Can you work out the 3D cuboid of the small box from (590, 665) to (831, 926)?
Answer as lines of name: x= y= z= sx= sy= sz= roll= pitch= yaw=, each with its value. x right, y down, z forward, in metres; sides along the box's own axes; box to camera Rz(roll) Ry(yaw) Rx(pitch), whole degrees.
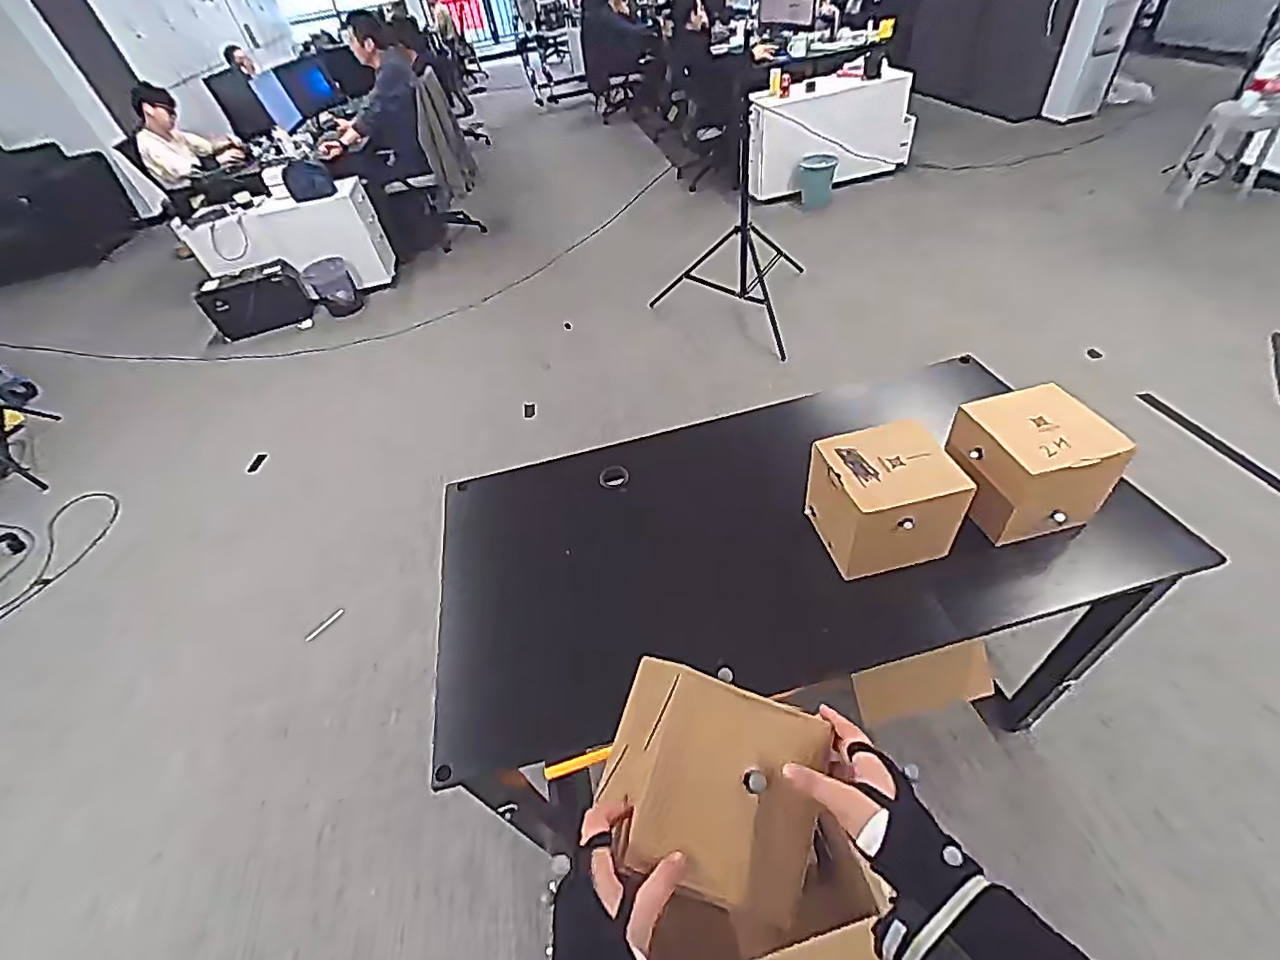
small box: x=0.063 y=0.301 z=0.558 sx=0.176 sy=0.168 sz=0.179 roll=22 pitch=72 yaw=-6

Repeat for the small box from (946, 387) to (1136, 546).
small box: x=0.625 y=-0.021 z=0.883 sx=0.168 sy=0.176 sz=0.179 roll=-14 pitch=45 yaw=-2

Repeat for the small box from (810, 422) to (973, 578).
small box: x=0.386 y=0.036 z=0.874 sx=0.179 sy=0.176 sz=0.168 roll=-12 pitch=45 yaw=-3
